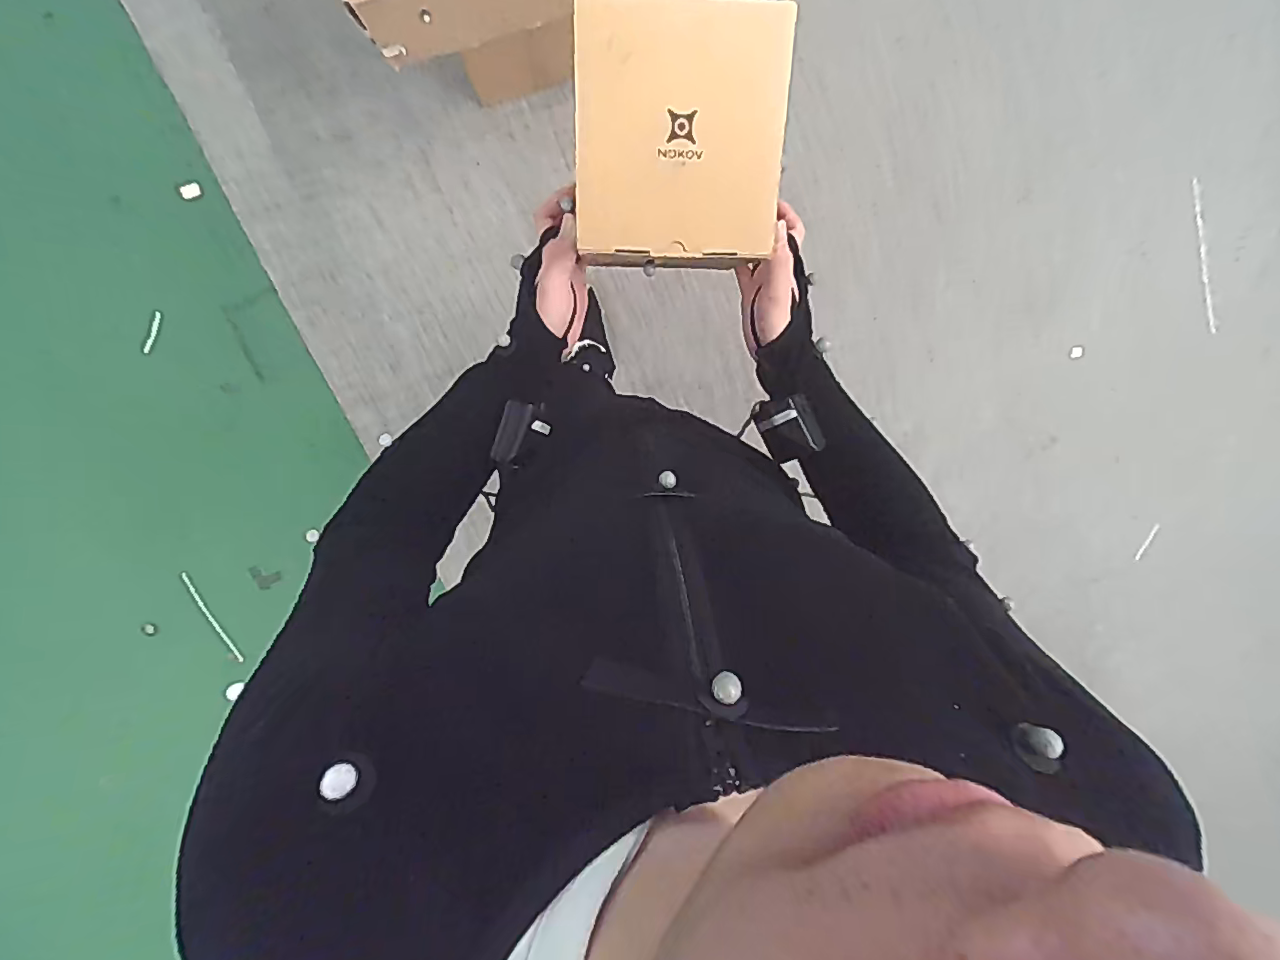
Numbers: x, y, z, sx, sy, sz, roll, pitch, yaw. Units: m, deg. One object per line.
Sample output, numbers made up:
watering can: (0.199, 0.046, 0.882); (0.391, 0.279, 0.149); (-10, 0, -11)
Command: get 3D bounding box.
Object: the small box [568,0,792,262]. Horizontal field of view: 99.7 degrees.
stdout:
small box: (0.021, -0.296, 0.482); (0.168, 0.176, 0.179); (0, 110, -4)
